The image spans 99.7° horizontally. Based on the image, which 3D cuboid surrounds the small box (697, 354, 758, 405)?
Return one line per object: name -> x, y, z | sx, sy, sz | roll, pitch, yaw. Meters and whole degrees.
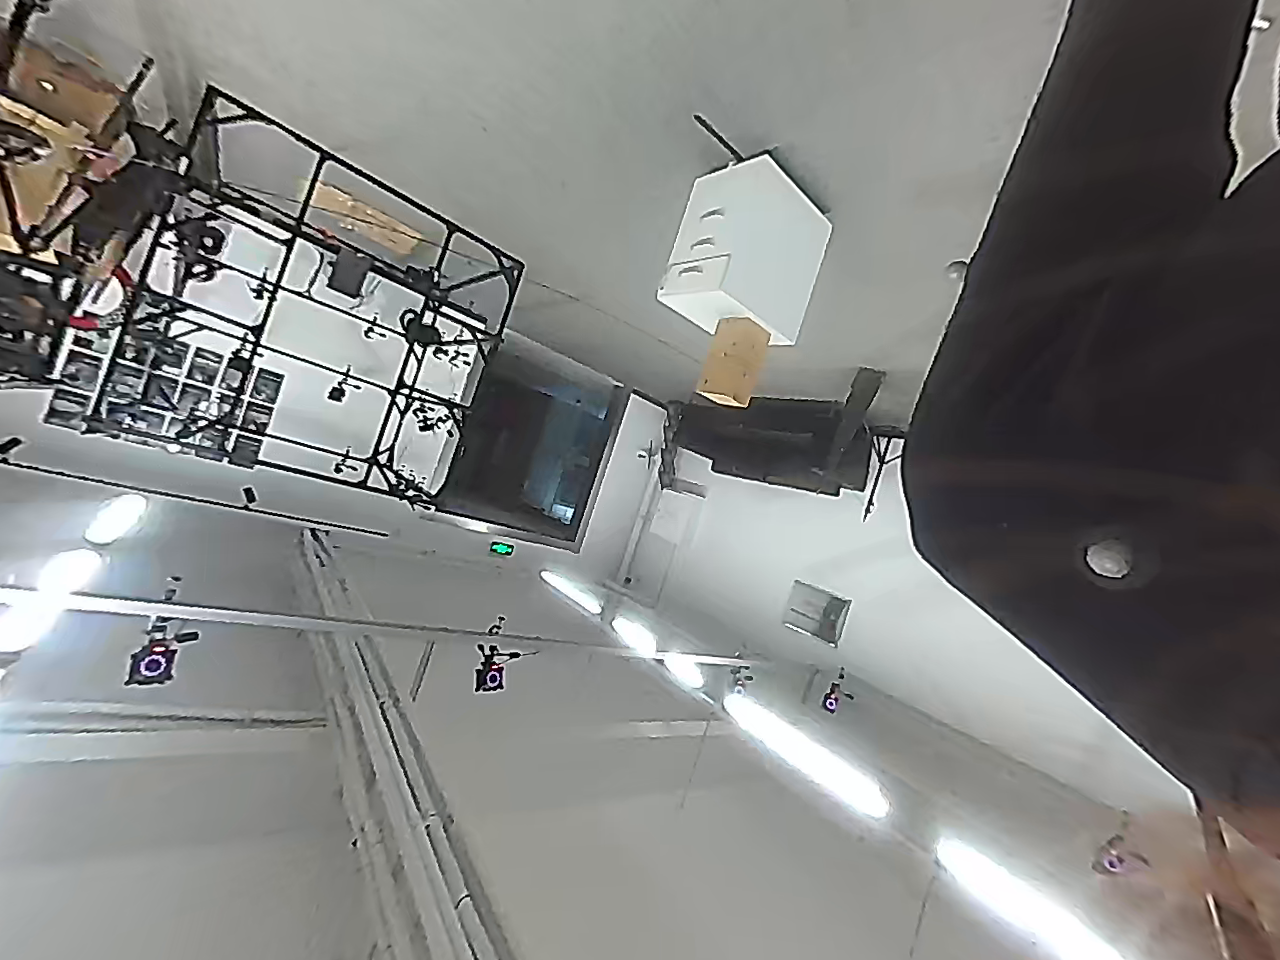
small box -> 0.381, -0.437, 2.333 | 0.168, 0.176, 0.179 | 17, -179, -42
